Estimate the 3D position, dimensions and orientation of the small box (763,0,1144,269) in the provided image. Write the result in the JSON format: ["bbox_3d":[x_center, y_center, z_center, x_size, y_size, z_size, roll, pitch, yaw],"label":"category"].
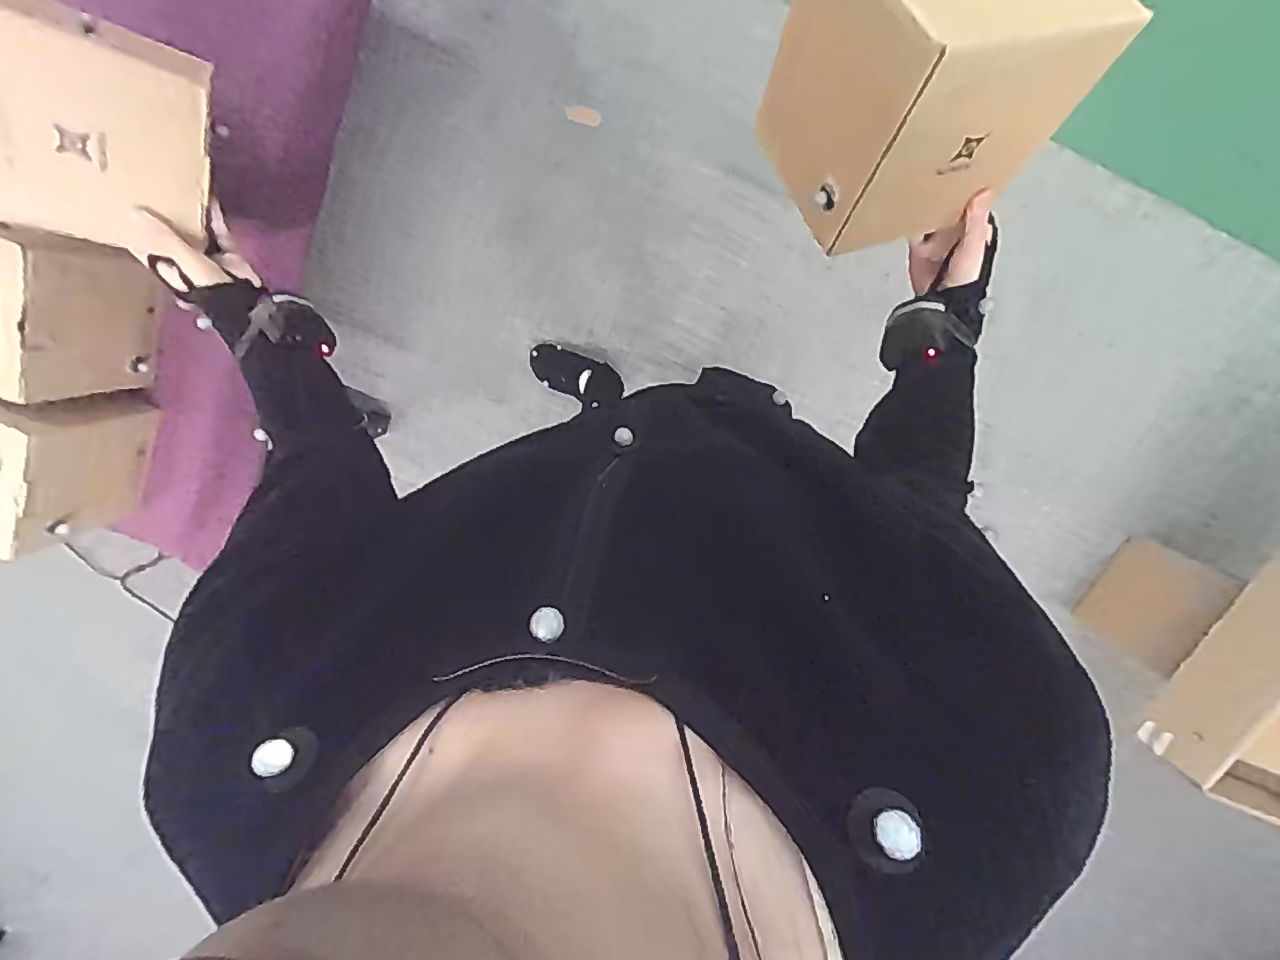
[{"bbox_3d":[0.222,-0.312,0.440,0.168,0.179,0.176,-17,73,-11],"label":"small box"}]

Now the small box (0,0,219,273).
[{"bbox_3d":[-0.522,-0.332,0.523,0.179,0.176,0.168,3,128,-38],"label":"small box"}]
